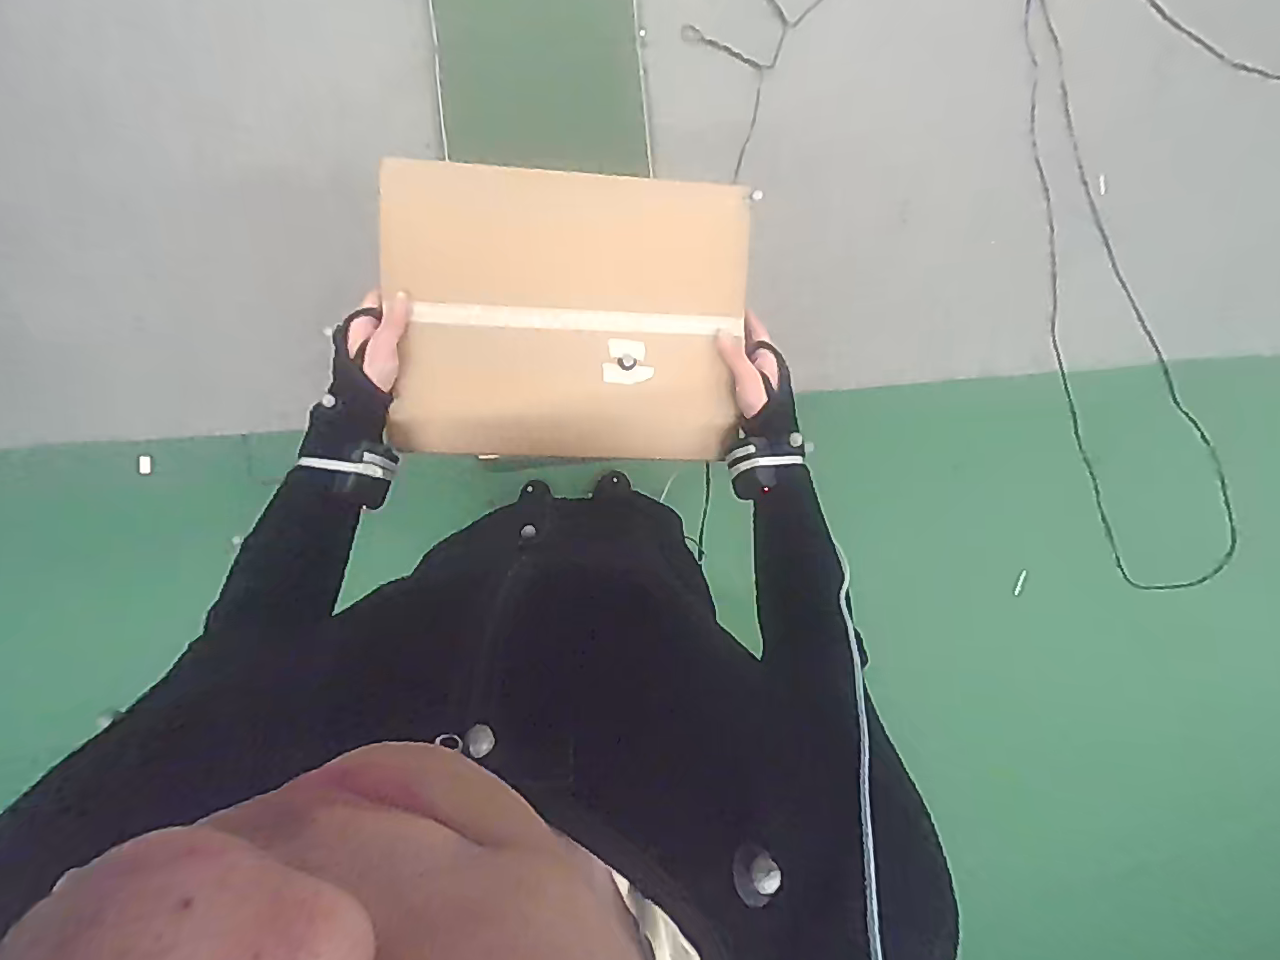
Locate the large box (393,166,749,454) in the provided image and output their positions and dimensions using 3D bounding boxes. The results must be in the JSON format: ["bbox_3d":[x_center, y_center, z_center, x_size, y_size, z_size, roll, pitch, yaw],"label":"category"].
[{"bbox_3d":[-0.091,-0.203,0.768,0.408,0.320,0.320,1,97,-7],"label":"large box"}]
